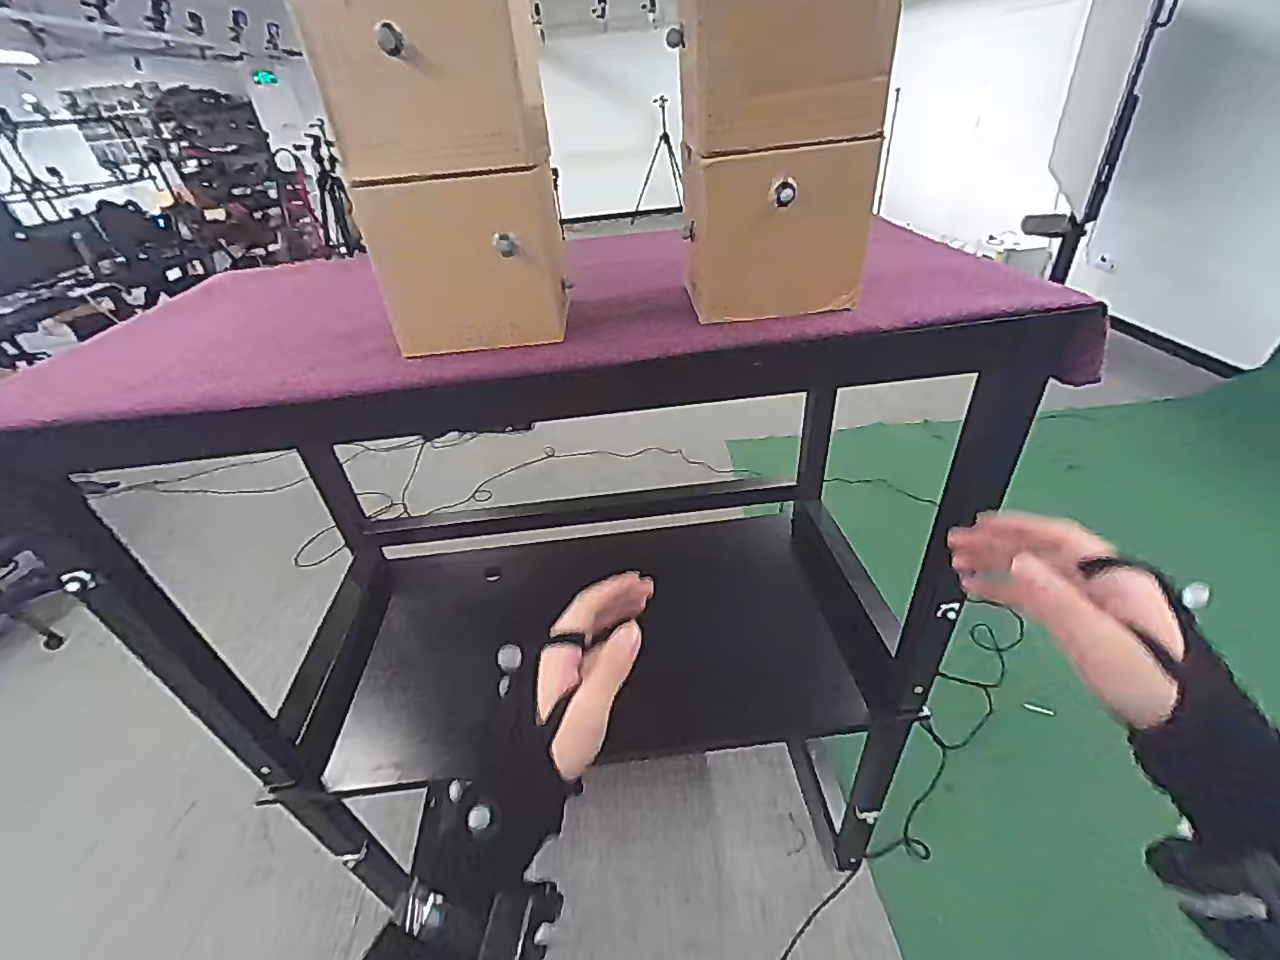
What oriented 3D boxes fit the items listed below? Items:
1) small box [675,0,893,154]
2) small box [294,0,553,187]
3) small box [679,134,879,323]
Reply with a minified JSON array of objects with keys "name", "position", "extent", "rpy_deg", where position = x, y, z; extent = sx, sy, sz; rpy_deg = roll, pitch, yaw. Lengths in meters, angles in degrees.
[{"name":"small box","position":[0.127,-0.417,0.515],"extent":[0.179,0.176,0.168],"rpy_deg":[-5,37,2]},{"name":"small box","position":[-0.190,-0.386,0.512],"extent":[0.179,0.176,0.168],"rpy_deg":[-6,35,1]},{"name":"small box","position":[0.142,-0.286,0.610],"extent":[0.179,0.176,0.168],"rpy_deg":[-5,37,1]}]
